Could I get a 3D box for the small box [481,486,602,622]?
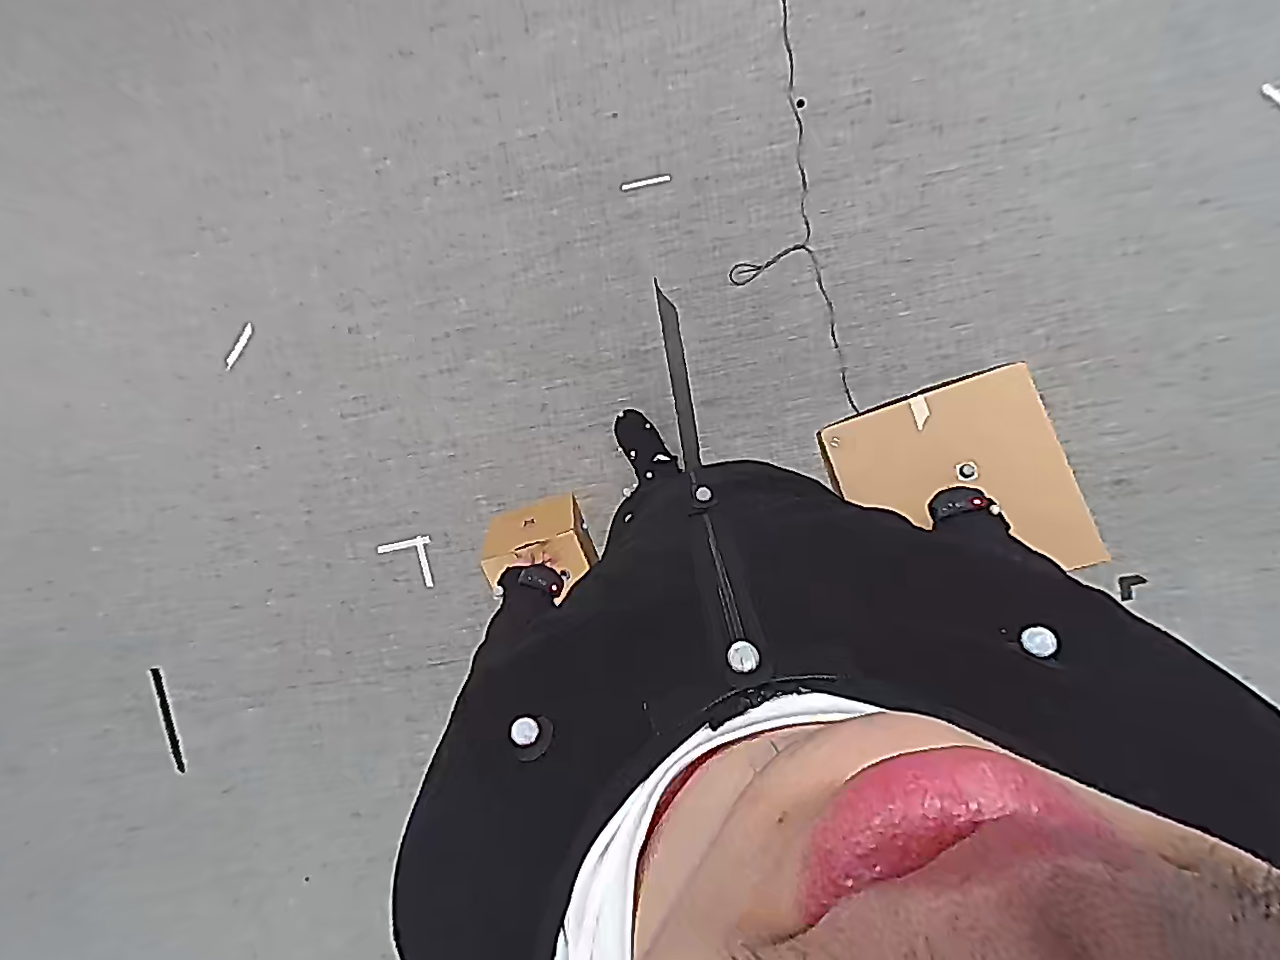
[{"bbox_3d":[-0.175,0.141,1.002,0.168,0.179,0.176,-19,113,-1],"label":"small box"}]
